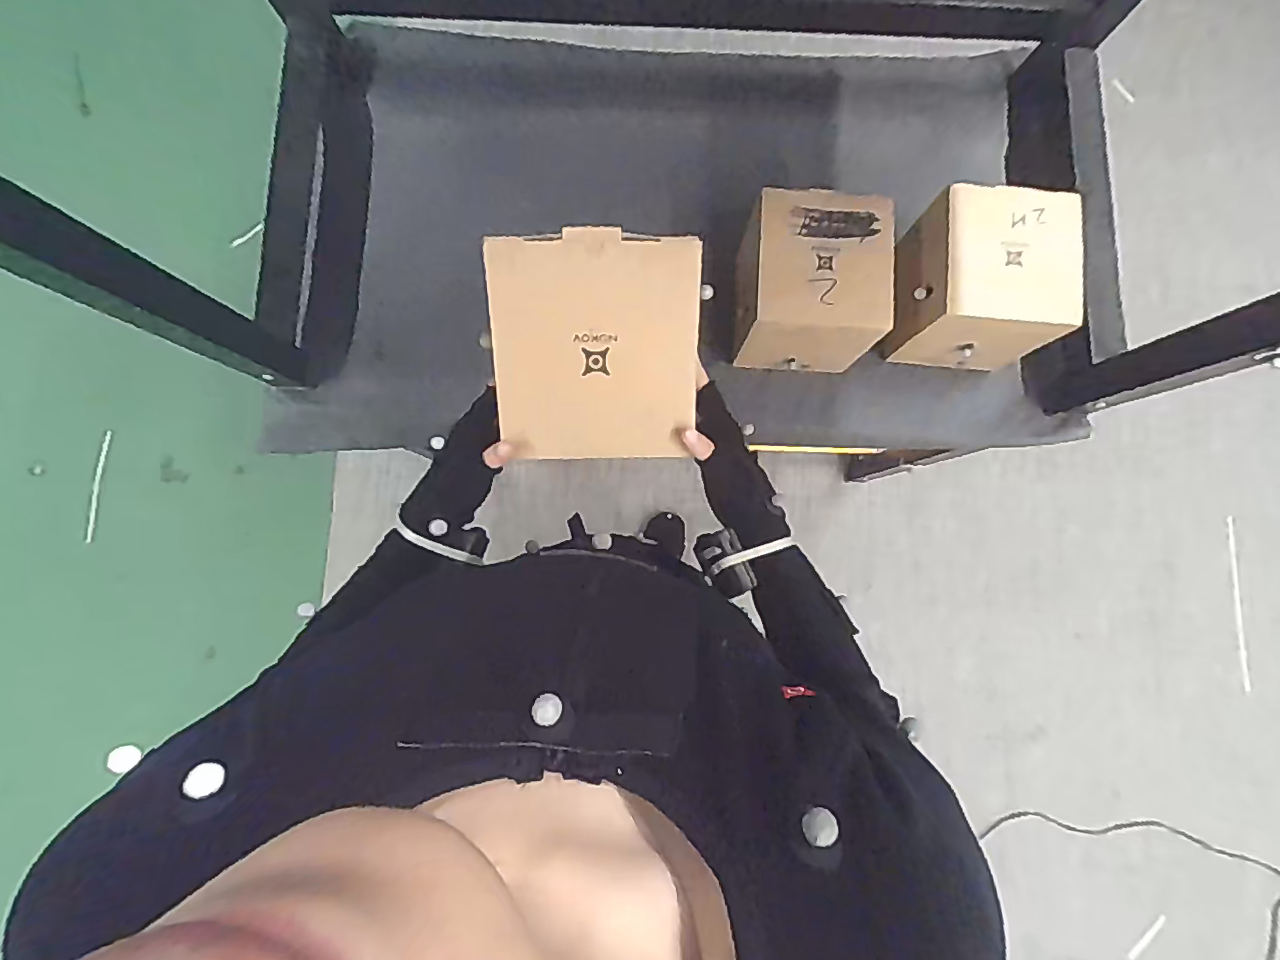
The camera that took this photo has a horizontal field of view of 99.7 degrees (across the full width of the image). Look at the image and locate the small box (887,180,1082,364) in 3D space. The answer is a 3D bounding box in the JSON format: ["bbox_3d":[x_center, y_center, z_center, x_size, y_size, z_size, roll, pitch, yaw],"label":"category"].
[{"bbox_3d":[0.456,-0.271,0.739,0.168,0.176,0.179,5,83,0],"label":"small box"}]
